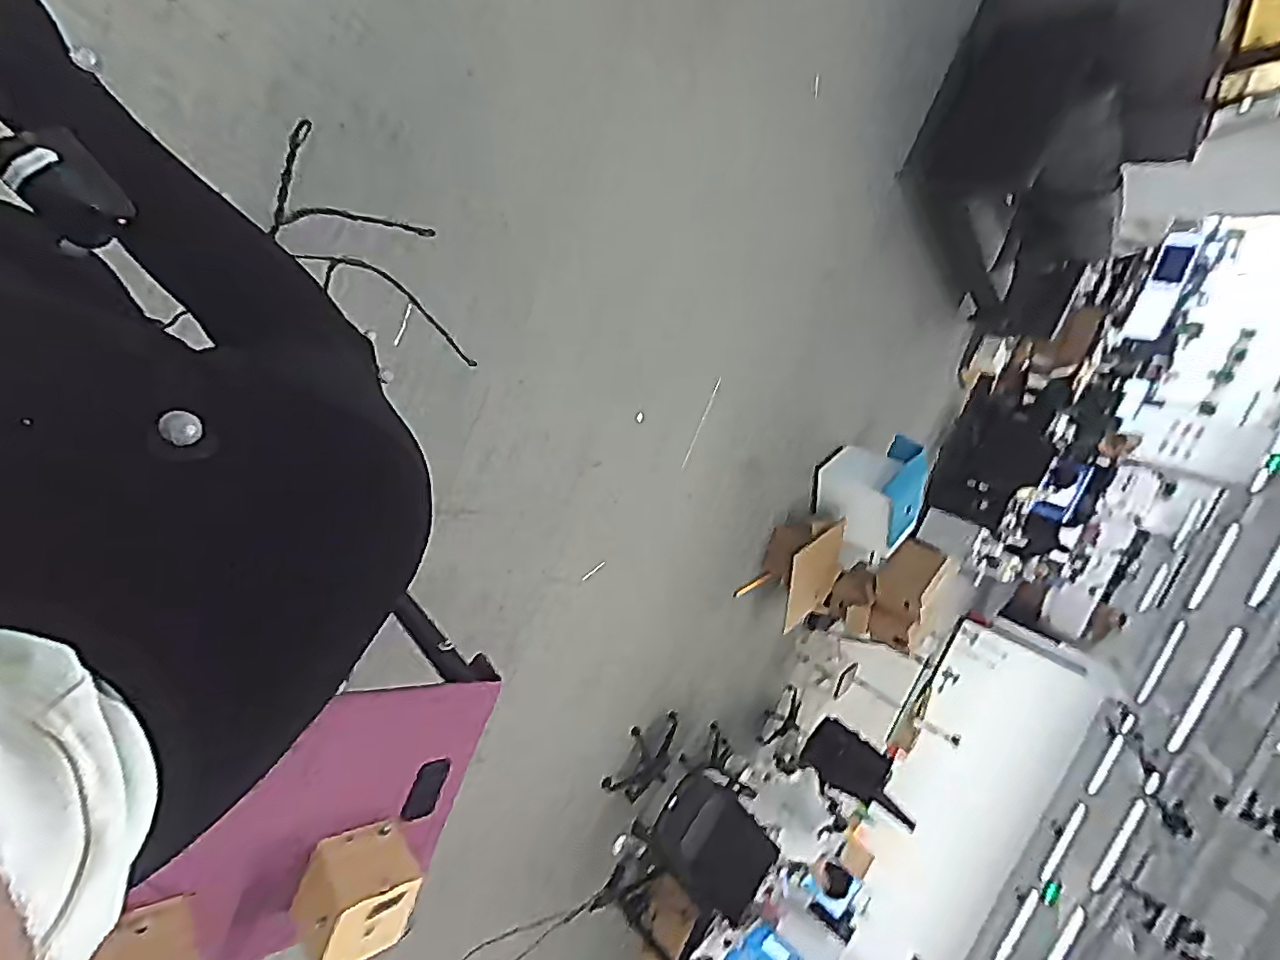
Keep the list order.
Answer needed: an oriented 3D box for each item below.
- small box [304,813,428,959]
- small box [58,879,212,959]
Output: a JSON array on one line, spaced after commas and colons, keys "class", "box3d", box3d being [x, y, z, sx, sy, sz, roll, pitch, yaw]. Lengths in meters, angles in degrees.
[{"class": "small box", "box3d": [-0.586, 0.849, 1.149, 0.168, 0.176, 0.179, 14, 102, -49]}, {"class": "small box", "box3d": [-0.830, 0.812, 0.879, 0.168, 0.176, 0.179, 14, 101, -50]}]
